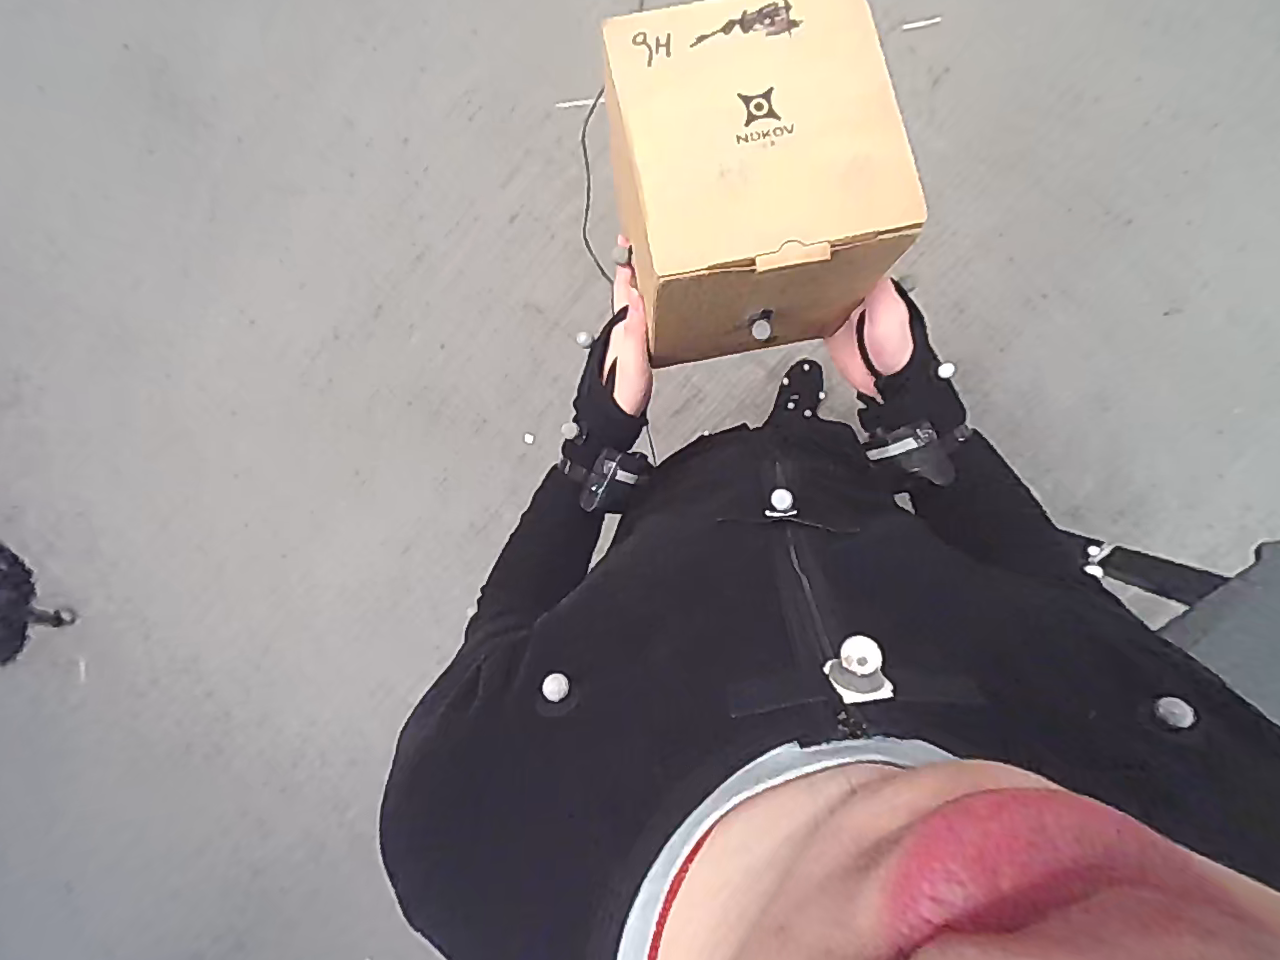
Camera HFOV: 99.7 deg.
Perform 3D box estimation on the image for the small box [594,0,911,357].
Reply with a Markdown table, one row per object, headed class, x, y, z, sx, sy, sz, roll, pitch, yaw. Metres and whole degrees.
| class | x | y | z | sx | sy | sz | roll | pitch | yaw |
| --- | --- | --- | --- | --- | --- | --- | --- | --- | --- |
| small box | 0.066 | -0.203 | 0.403 | 0.168 | 0.176 | 0.179 | -11 | 85 | -2 |
